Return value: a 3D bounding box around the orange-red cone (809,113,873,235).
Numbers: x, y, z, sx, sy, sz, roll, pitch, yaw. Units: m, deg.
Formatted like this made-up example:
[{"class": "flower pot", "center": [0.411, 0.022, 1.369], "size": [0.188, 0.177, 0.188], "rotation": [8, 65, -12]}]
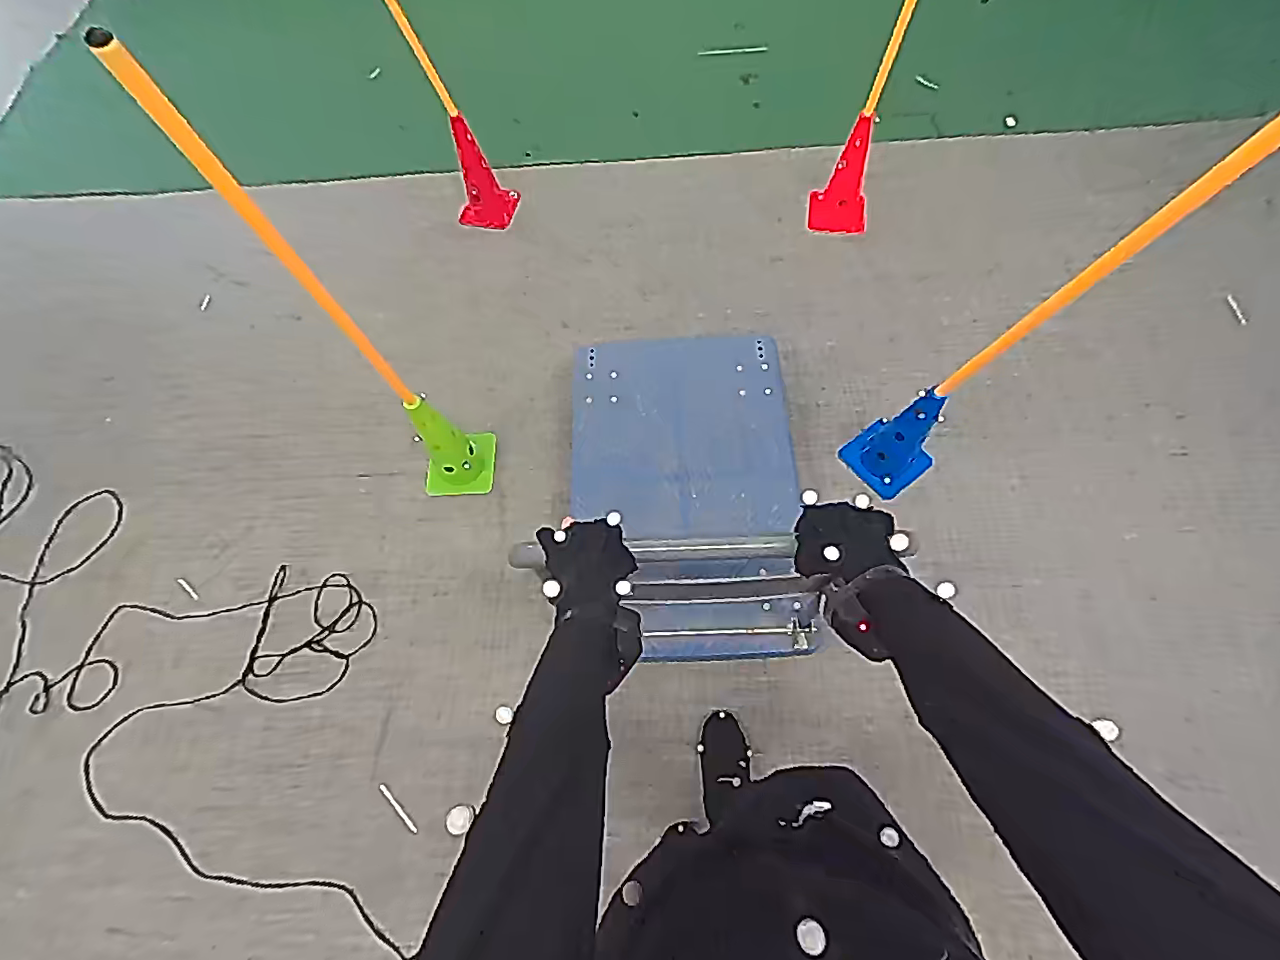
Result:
[{"class": "orange-red cone", "center": [0.698, -1.022, 1.786], "size": [0.198, 0.360, 0.199], "rotation": [8, 68, 9]}]
